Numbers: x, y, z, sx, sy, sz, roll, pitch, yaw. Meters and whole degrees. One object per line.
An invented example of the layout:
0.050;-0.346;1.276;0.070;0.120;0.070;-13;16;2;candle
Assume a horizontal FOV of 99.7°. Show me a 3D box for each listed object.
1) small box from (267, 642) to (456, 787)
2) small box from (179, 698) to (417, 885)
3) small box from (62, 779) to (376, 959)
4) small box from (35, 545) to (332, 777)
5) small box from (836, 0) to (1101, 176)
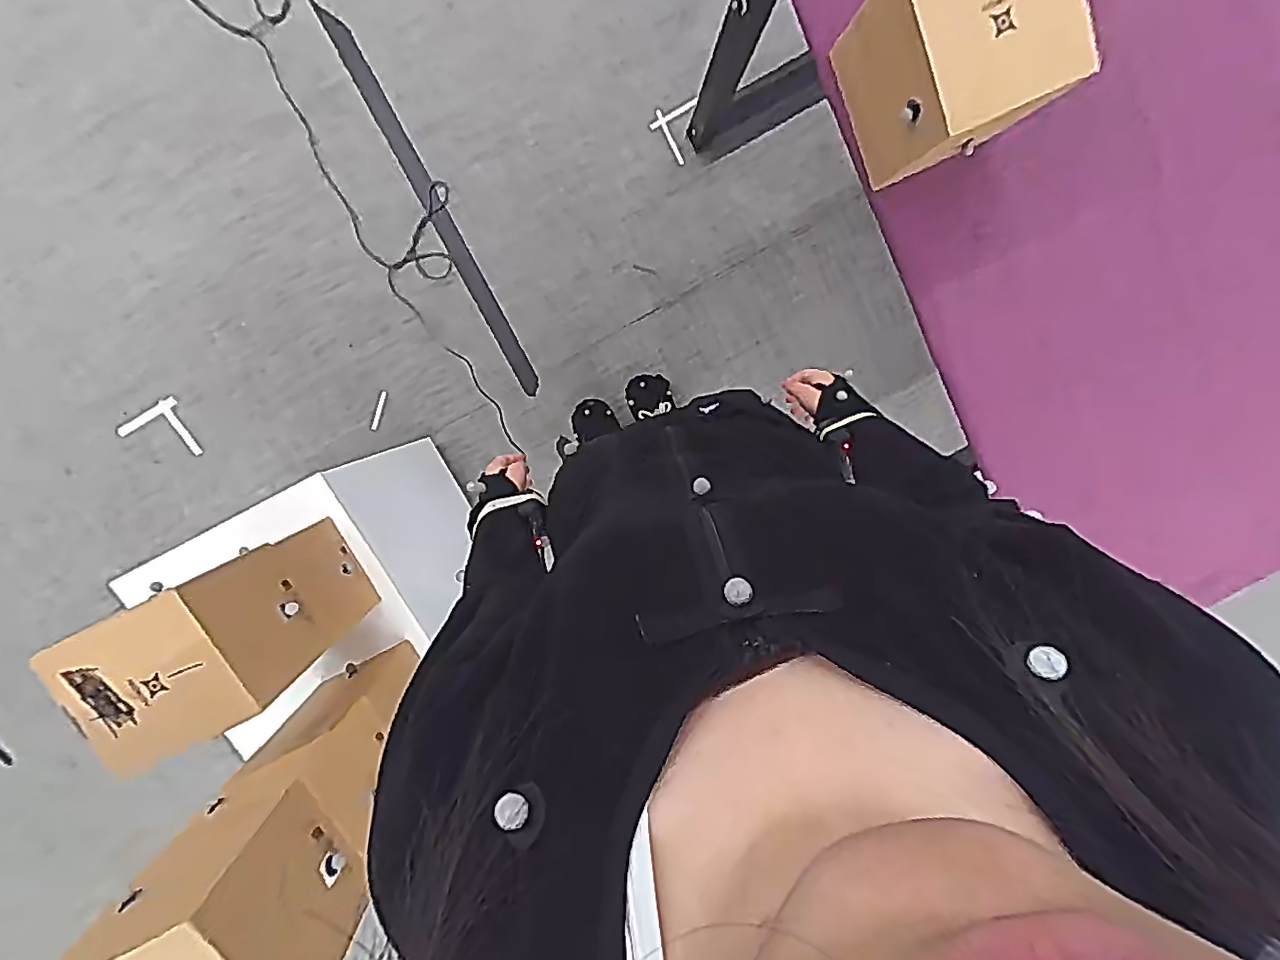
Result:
-0.427;0.393;0.861;0.179;0.176;0.168;-27;102;3;small box
-0.417;0.422;0.702;0.179;0.176;0.168;-28;101;3;small box
-0.410;0.452;0.543;0.179;0.176;0.168;-29;102;2;small box
-0.523;0.203;0.652;0.179;0.176;0.168;-26;102;0;small box
0.349;-0.471;0.604;0.168;0.176;0.179;-24;101;1;small box
